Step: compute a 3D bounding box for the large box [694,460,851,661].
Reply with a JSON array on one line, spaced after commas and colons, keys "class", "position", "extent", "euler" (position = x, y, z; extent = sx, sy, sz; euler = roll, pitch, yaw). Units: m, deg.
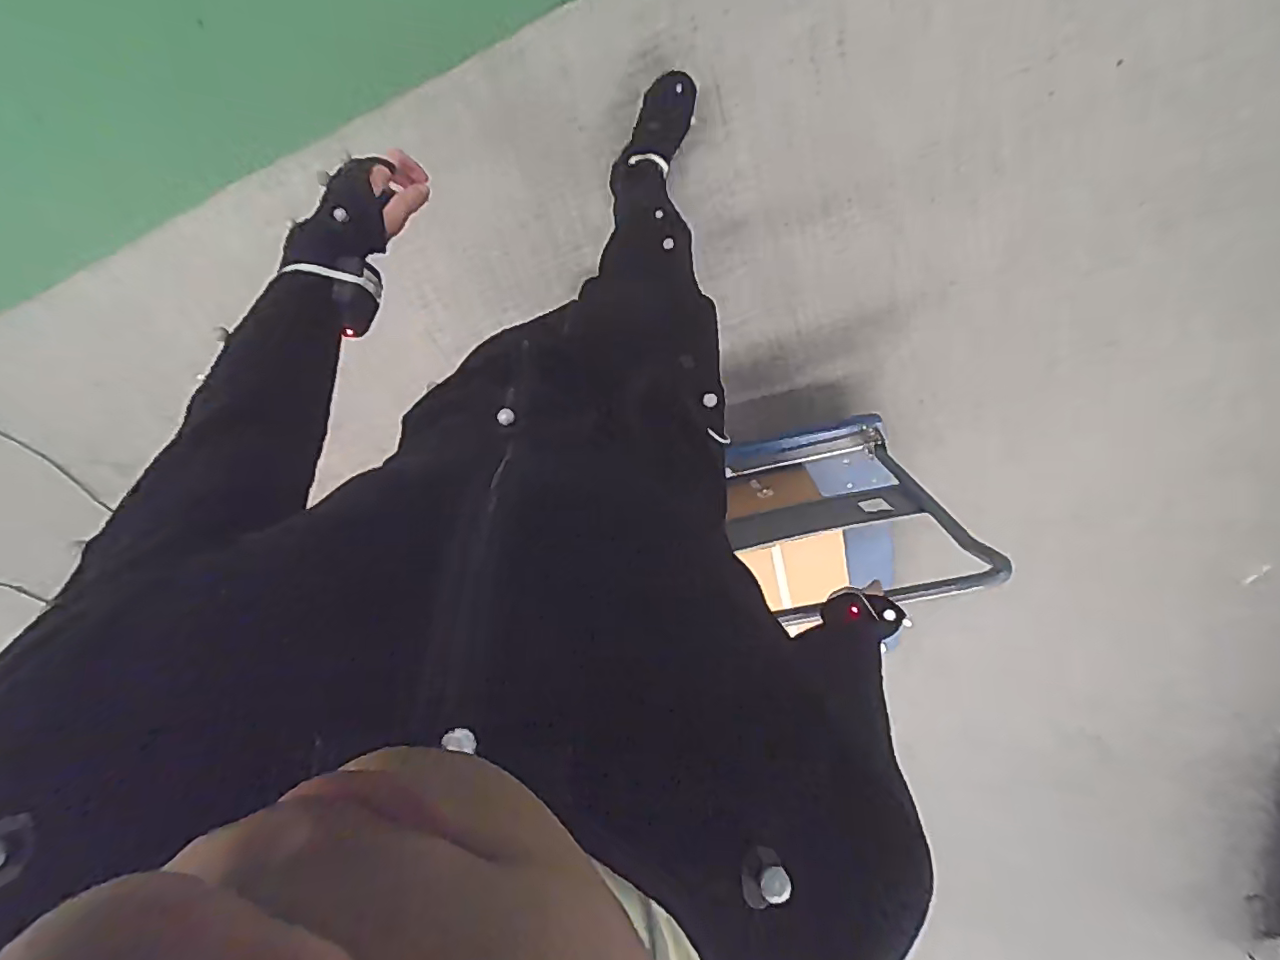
[{"class": "large box", "position": [0.353, 0.215, 1.481], "extent": [0.320, 0.320, 0.408], "euler": [-13, 118, 8]}]
